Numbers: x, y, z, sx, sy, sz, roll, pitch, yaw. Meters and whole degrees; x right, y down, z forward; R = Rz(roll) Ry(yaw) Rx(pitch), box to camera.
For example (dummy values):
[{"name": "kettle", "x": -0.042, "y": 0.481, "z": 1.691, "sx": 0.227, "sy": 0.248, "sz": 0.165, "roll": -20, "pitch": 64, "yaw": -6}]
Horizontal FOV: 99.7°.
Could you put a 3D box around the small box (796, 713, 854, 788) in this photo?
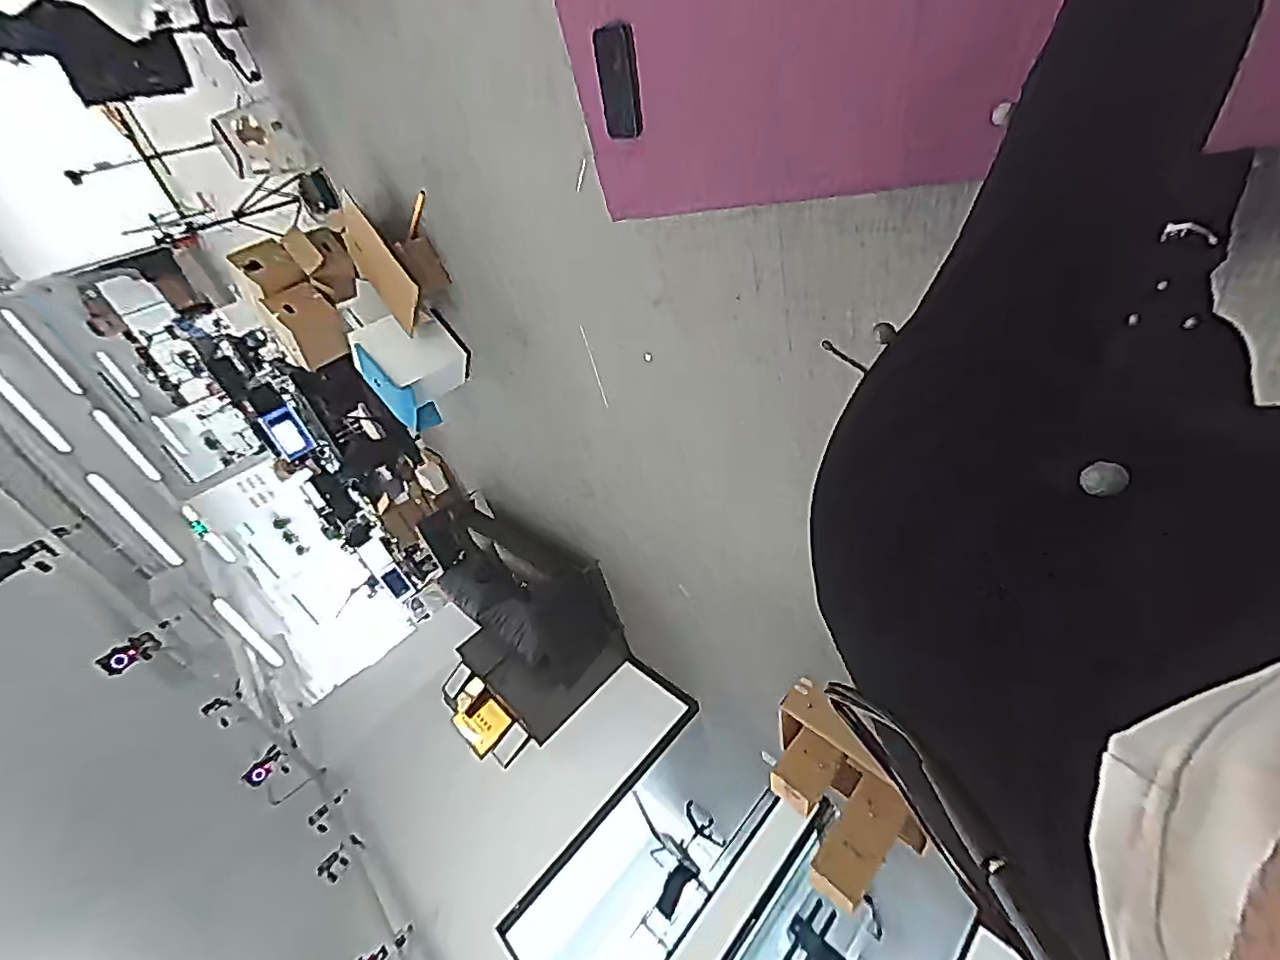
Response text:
[{"name": "small box", "x": 0.743, "y": 1.084, "z": 2.174, "sx": 0.168, "sy": 0.176, "sz": 0.179, "roll": 27, "pitch": 141, "yaw": 39}]

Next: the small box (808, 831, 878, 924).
[{"name": "small box", "x": 0.698, "y": 1.363, "z": 1.860, "sx": 0.168, "sy": 0.176, "sz": 0.179, "roll": 26, "pitch": 142, "yaw": 39}]

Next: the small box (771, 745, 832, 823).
[{"name": "small box", "x": 0.627, "y": 1.172, "z": 2.095, "sx": 0.168, "sy": 0.176, "sz": 0.179, "roll": 28, "pitch": 143, "yaw": 38}]

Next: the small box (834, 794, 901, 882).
[{"name": "small box", "x": 0.813, "y": 1.277, "z": 1.937, "sx": 0.168, "sy": 0.176, "sz": 0.179, "roll": 25, "pitch": 141, "yaw": 40}]
